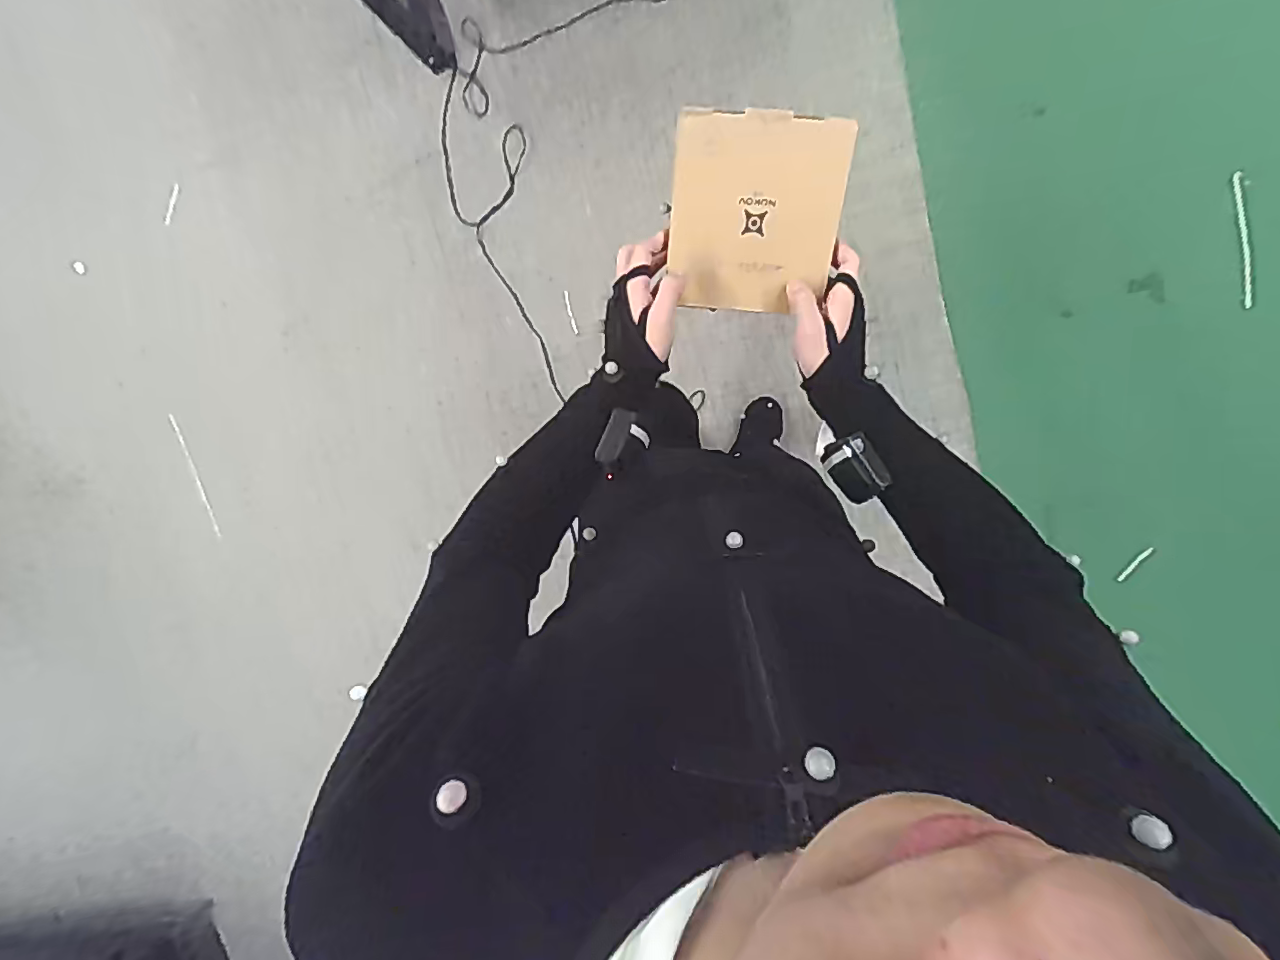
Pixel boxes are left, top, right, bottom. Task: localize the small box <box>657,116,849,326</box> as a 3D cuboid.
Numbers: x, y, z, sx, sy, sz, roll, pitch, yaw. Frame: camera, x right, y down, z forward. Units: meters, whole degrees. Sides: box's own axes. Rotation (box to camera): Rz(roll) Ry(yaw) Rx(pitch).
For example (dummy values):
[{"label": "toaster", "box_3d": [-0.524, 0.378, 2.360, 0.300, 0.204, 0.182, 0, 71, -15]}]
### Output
[{"label": "small box", "box_3d": [0.108, -0.279, 0.602, 0.168, 0.176, 0.179, 5, 114, 0]}]
